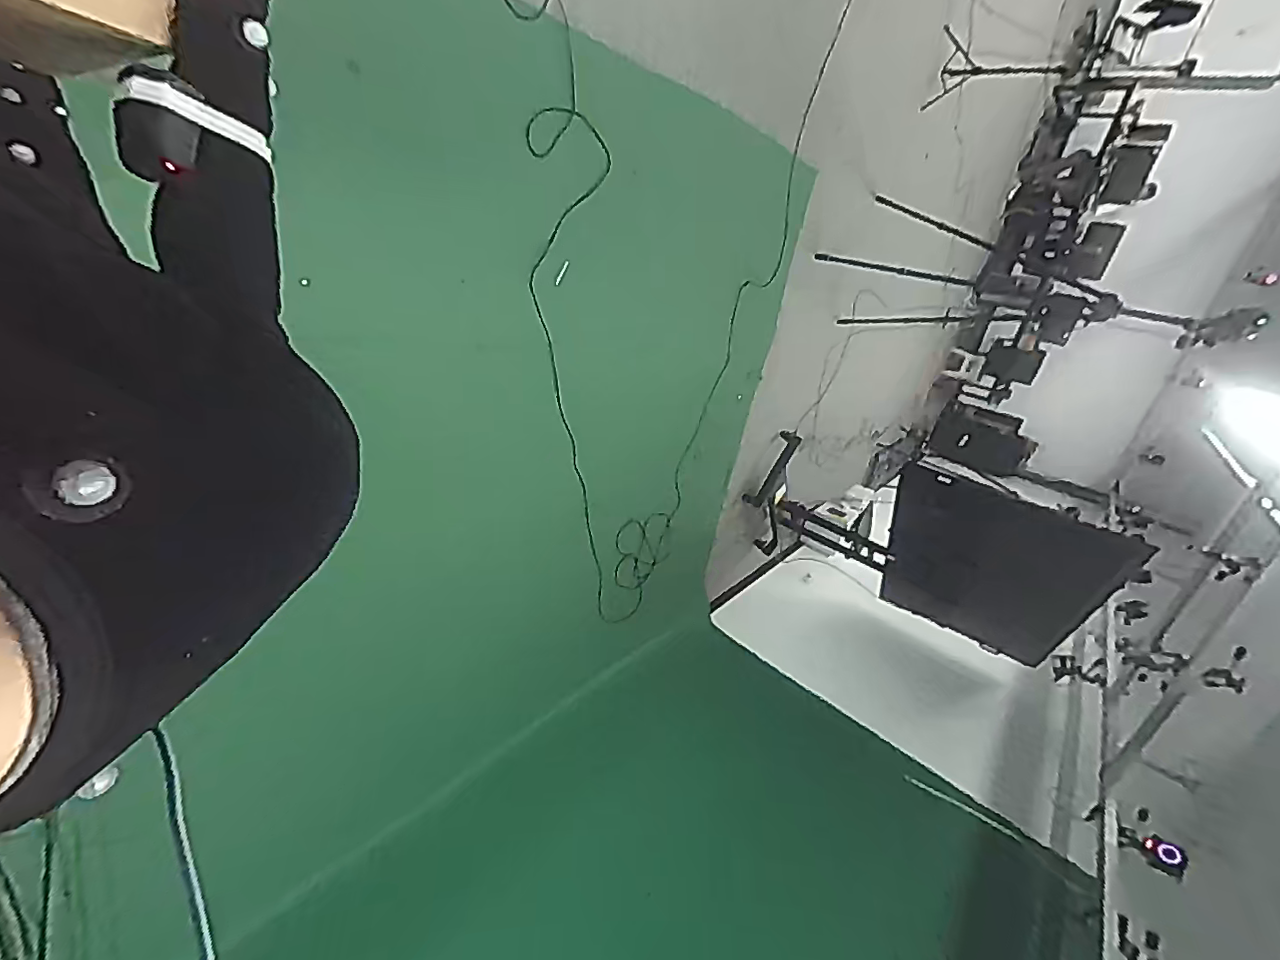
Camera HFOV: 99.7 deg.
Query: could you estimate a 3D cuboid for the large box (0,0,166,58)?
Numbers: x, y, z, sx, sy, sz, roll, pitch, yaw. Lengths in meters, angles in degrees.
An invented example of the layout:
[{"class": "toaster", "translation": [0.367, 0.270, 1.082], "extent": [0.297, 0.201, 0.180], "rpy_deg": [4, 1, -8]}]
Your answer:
[{"class": "large box", "translation": [-0.558, -0.476, 0.268], "extent": [0.408, 0.320, 0.320], "rpy_deg": [-17, 122, -53]}]
